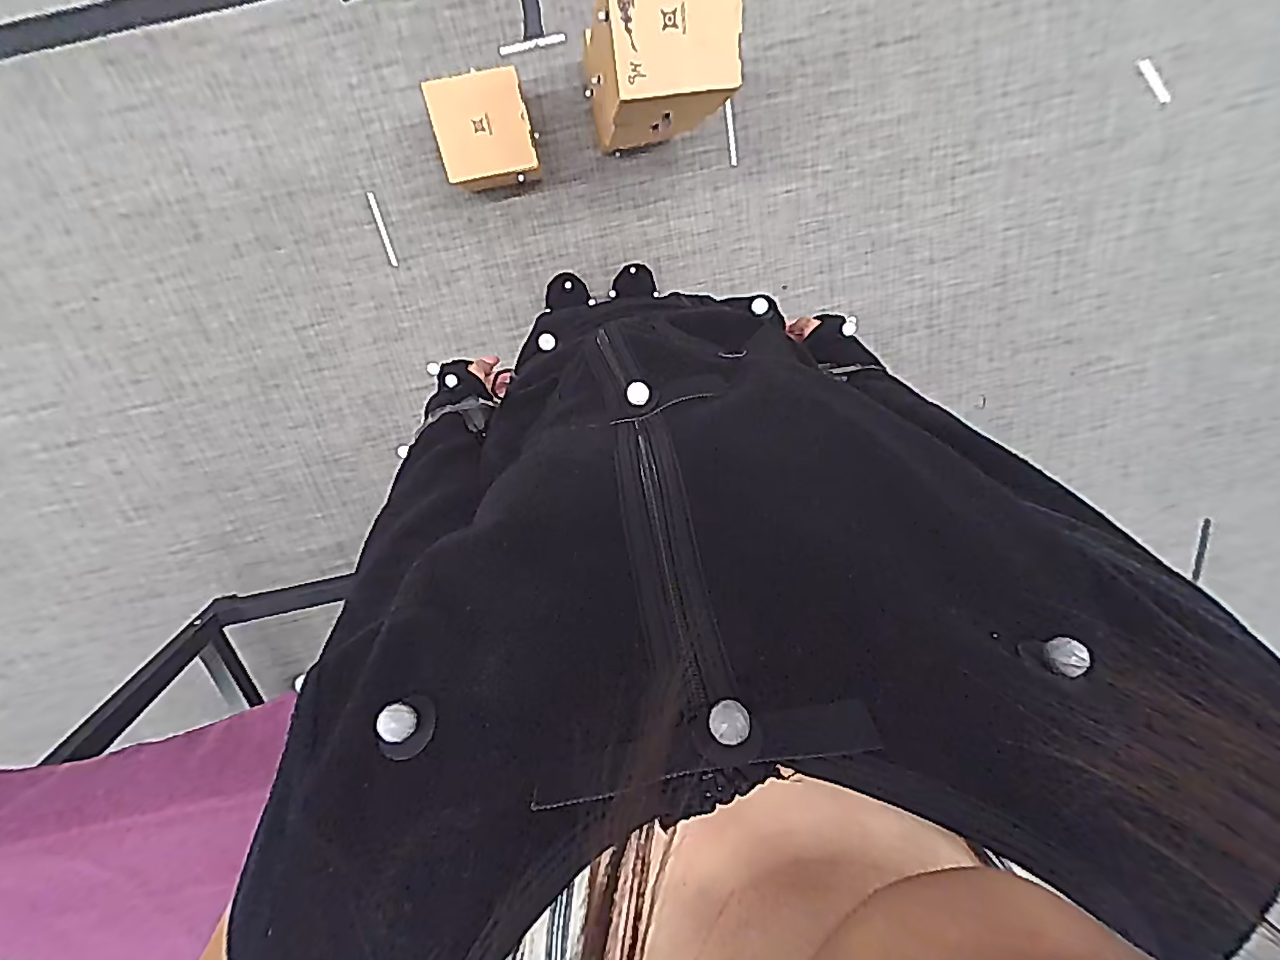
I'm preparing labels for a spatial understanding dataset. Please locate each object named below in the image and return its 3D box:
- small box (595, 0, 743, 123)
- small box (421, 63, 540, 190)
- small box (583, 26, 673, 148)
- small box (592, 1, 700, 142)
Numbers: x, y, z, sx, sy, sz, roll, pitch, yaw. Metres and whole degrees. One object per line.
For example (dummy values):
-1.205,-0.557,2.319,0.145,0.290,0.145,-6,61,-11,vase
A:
0.037,-0.636,0.783,0.179,0.176,0.168,-9,114,-5,small box
-0.305,-0.690,1.073,0.179,0.176,0.168,-13,114,-3,small box
-0.014,-0.780,1.075,0.168,0.176,0.179,-14,113,-2,small box
0.015,-0.702,0.932,0.179,0.176,0.168,-12,114,-4,small box
